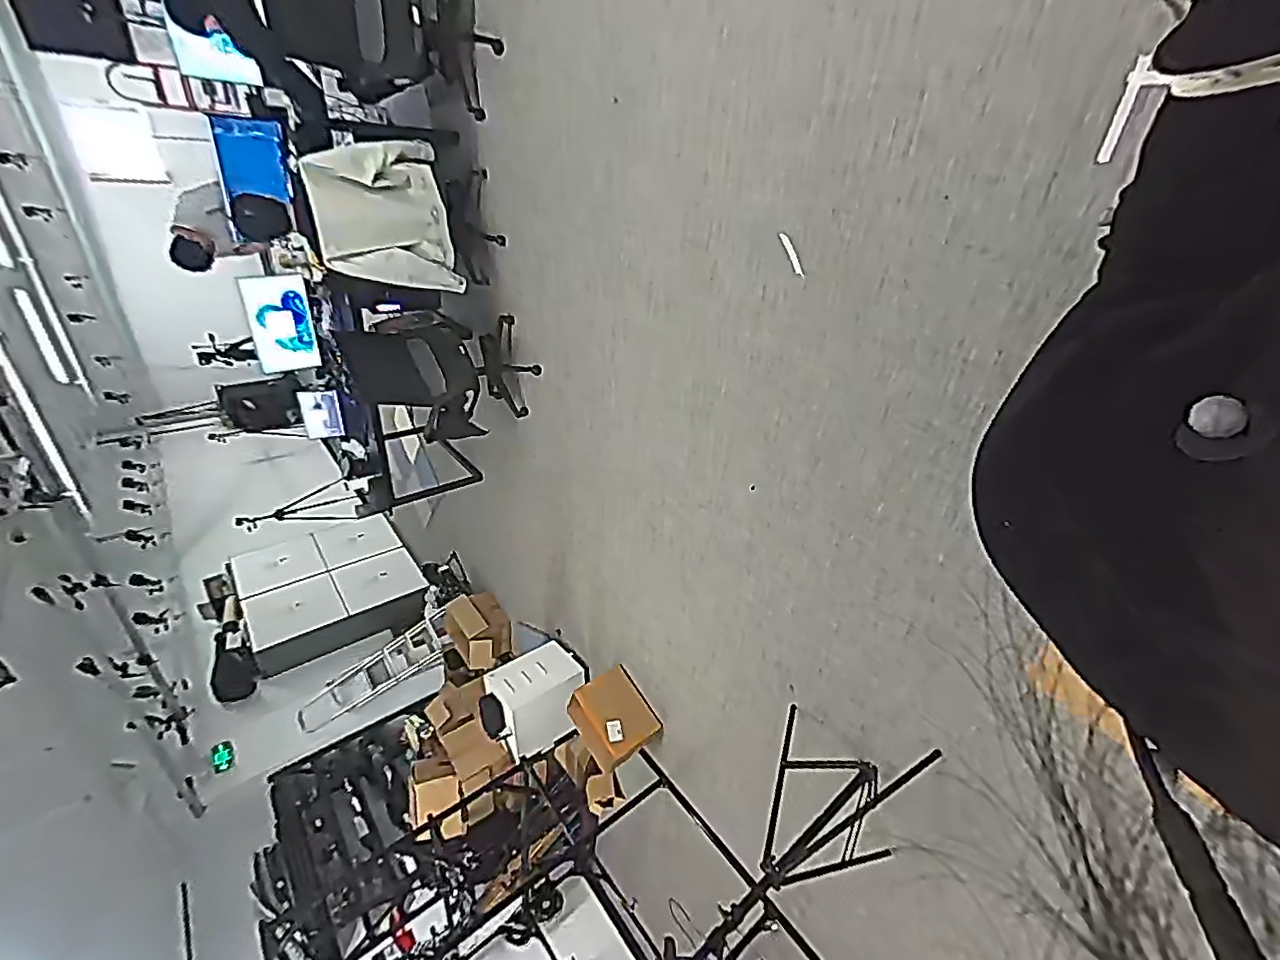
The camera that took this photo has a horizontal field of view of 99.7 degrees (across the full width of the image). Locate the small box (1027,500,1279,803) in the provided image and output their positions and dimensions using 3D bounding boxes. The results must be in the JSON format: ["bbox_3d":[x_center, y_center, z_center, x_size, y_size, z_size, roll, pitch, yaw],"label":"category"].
[{"bbox_3d":[0.520,0.144,0.508,0.168,0.176,0.179,39,136,38],"label":"small box"}]

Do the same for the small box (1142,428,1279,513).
[{"bbox_3d":[0.773,0.053,0.692,0.168,0.176,0.179,41,135,36],"label":"small box"}]
